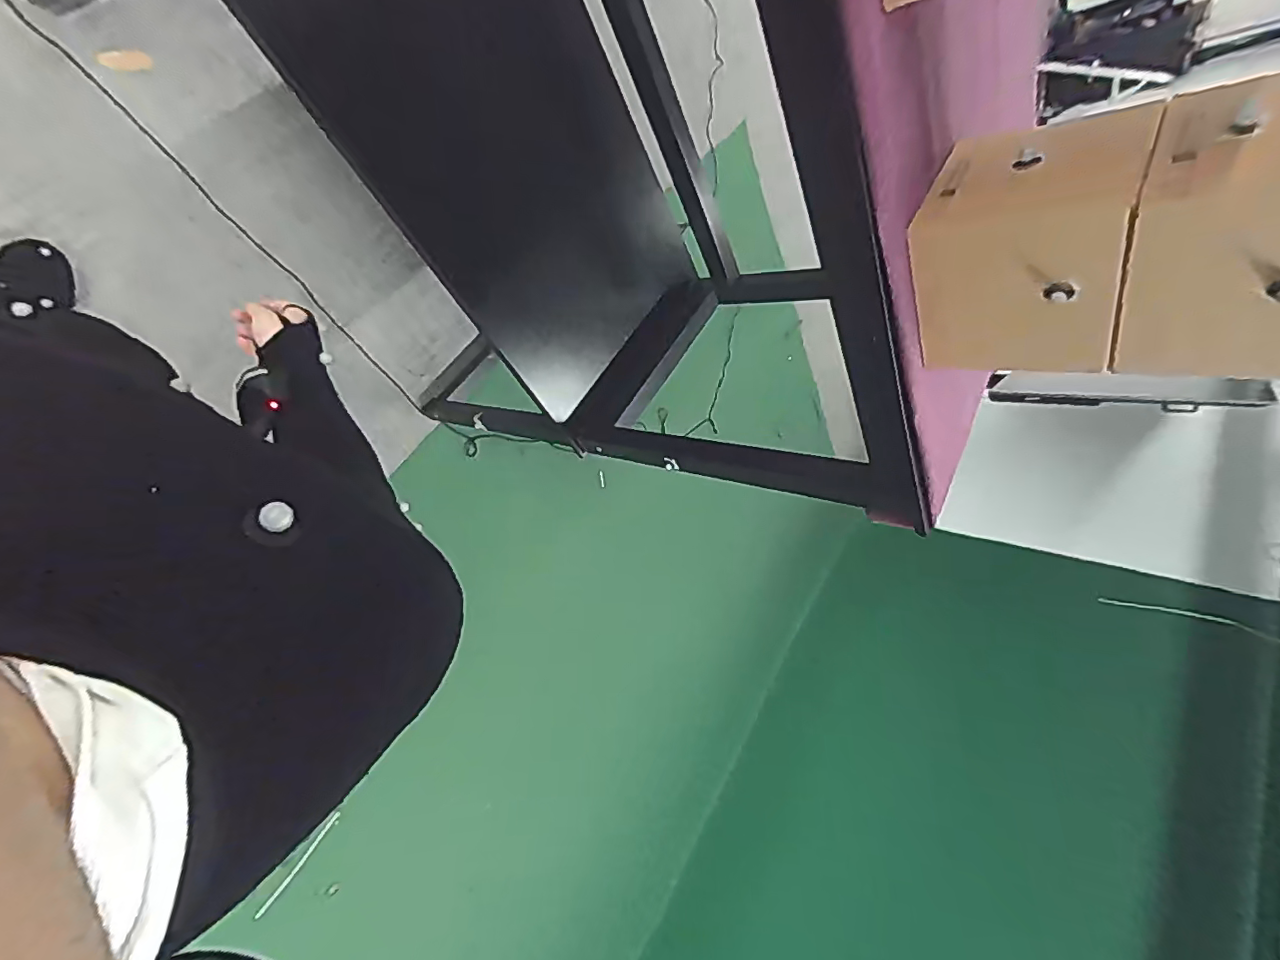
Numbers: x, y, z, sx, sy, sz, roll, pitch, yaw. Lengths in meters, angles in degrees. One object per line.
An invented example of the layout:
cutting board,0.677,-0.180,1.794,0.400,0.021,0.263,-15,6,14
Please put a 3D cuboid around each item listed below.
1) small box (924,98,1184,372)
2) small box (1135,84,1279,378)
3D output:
small box,0.398,-0.224,0.535,0.168,0.176,0.179,-54,133,-22
small box,0.518,-0.196,0.427,0.168,0.176,0.179,-56,133,-21
